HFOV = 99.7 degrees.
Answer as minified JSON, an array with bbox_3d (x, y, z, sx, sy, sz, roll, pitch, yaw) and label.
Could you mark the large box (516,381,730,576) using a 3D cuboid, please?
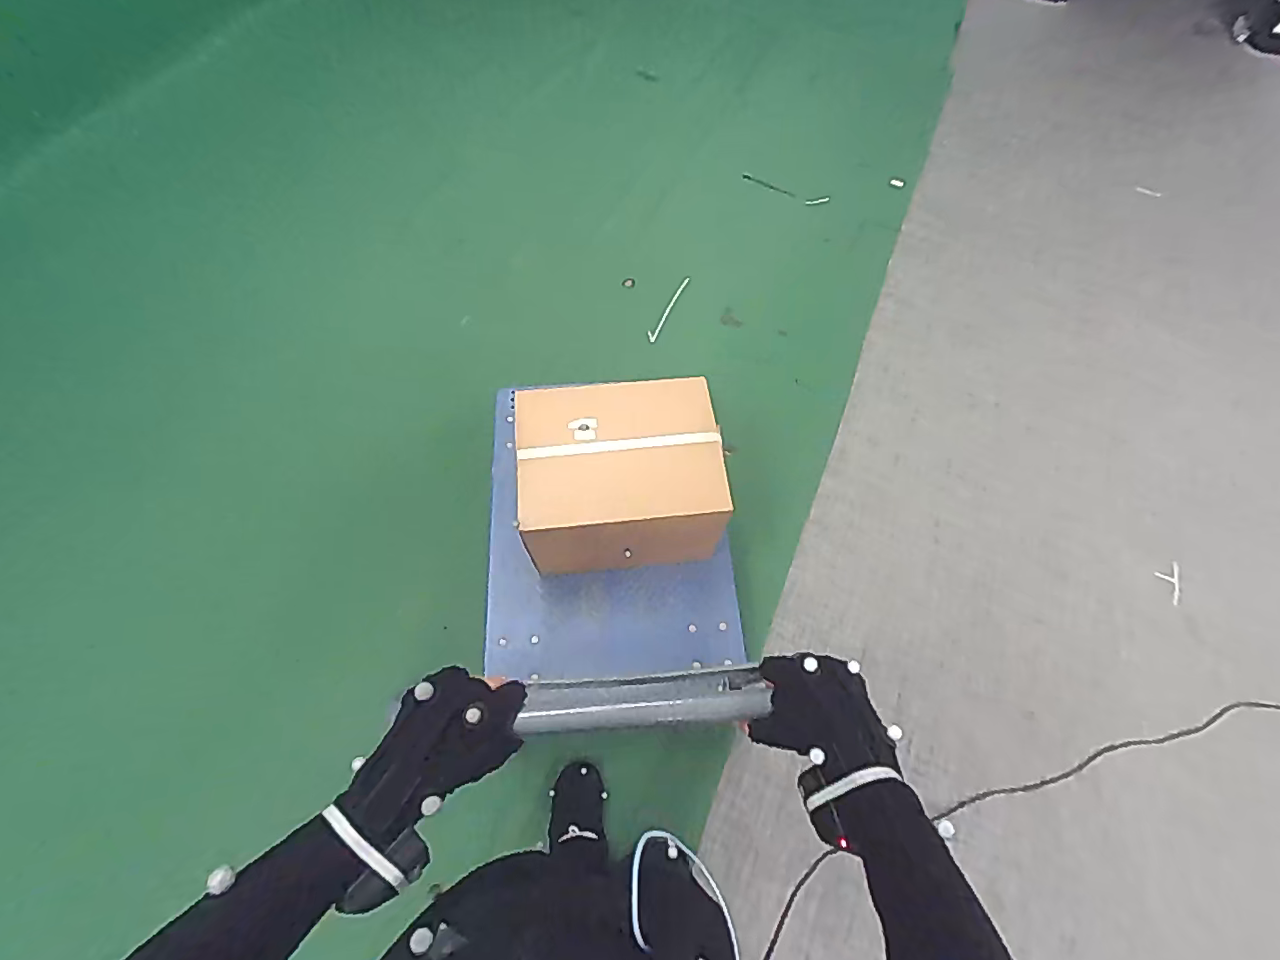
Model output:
[{"bbox_3d":[-0.043,0.009,1.217,0.408,0.320,0.320,-6,64,-4],"label":"large box"}]
